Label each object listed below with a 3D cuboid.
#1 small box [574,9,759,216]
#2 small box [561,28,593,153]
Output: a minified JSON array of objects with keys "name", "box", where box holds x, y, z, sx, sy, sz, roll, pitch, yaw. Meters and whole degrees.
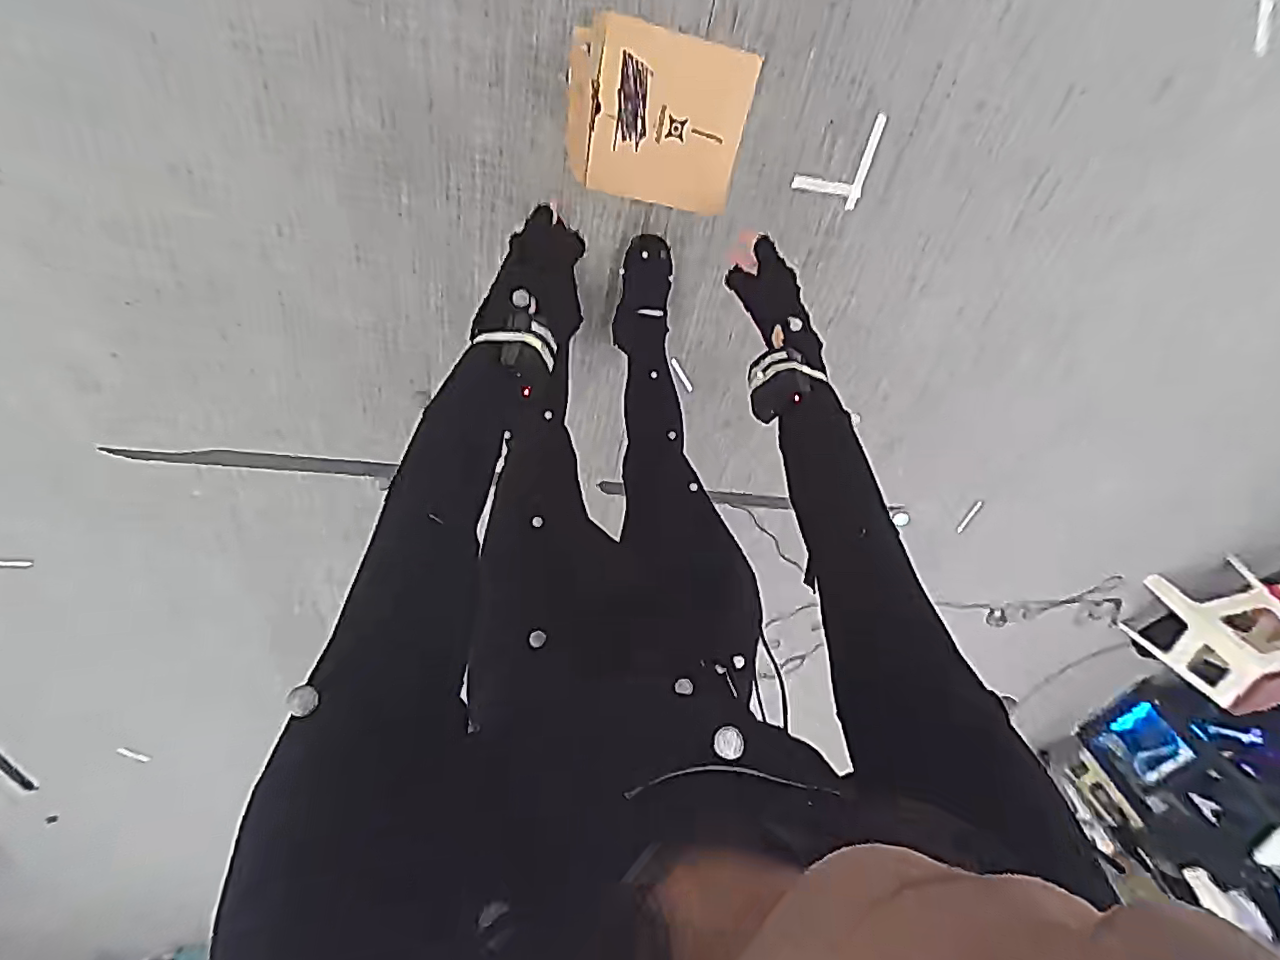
[{"name":"small box","box":[0.016,-0.451,0.672,0.179,0.176,0.168,4,127,-15]},{"name":"small box","box":[-0.039,-0.653,0.926,0.179,0.176,0.168,2,127,-11]}]
